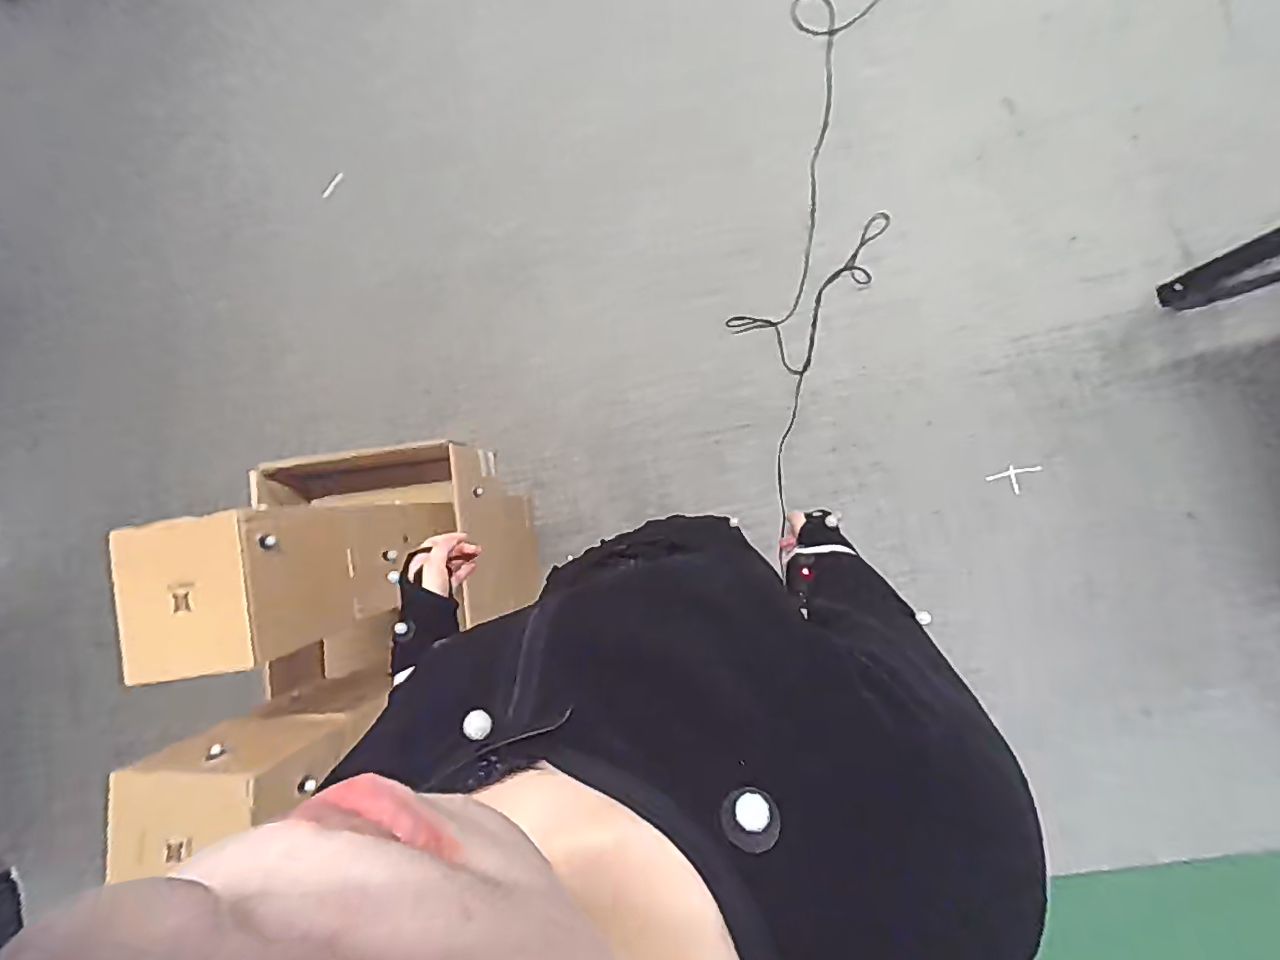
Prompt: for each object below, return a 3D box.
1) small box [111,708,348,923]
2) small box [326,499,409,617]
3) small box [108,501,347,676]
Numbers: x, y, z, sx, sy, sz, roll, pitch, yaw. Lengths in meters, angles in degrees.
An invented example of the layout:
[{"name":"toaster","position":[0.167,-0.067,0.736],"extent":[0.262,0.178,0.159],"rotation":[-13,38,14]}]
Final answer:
[{"name":"small box","position":[-0.489,0.395,0.667],"extent":[0.179,0.176,0.168],"rotation":[-2,87,8]},{"name":"small box","position":[-0.481,0.122,0.840],"extent":[0.179,0.176,0.168],"rotation":[-10,88,5]},{"name":"small box","position":[-0.497,0.124,0.677],"extent":[0.168,0.176,0.179],"rotation":[-9,88,6]}]
